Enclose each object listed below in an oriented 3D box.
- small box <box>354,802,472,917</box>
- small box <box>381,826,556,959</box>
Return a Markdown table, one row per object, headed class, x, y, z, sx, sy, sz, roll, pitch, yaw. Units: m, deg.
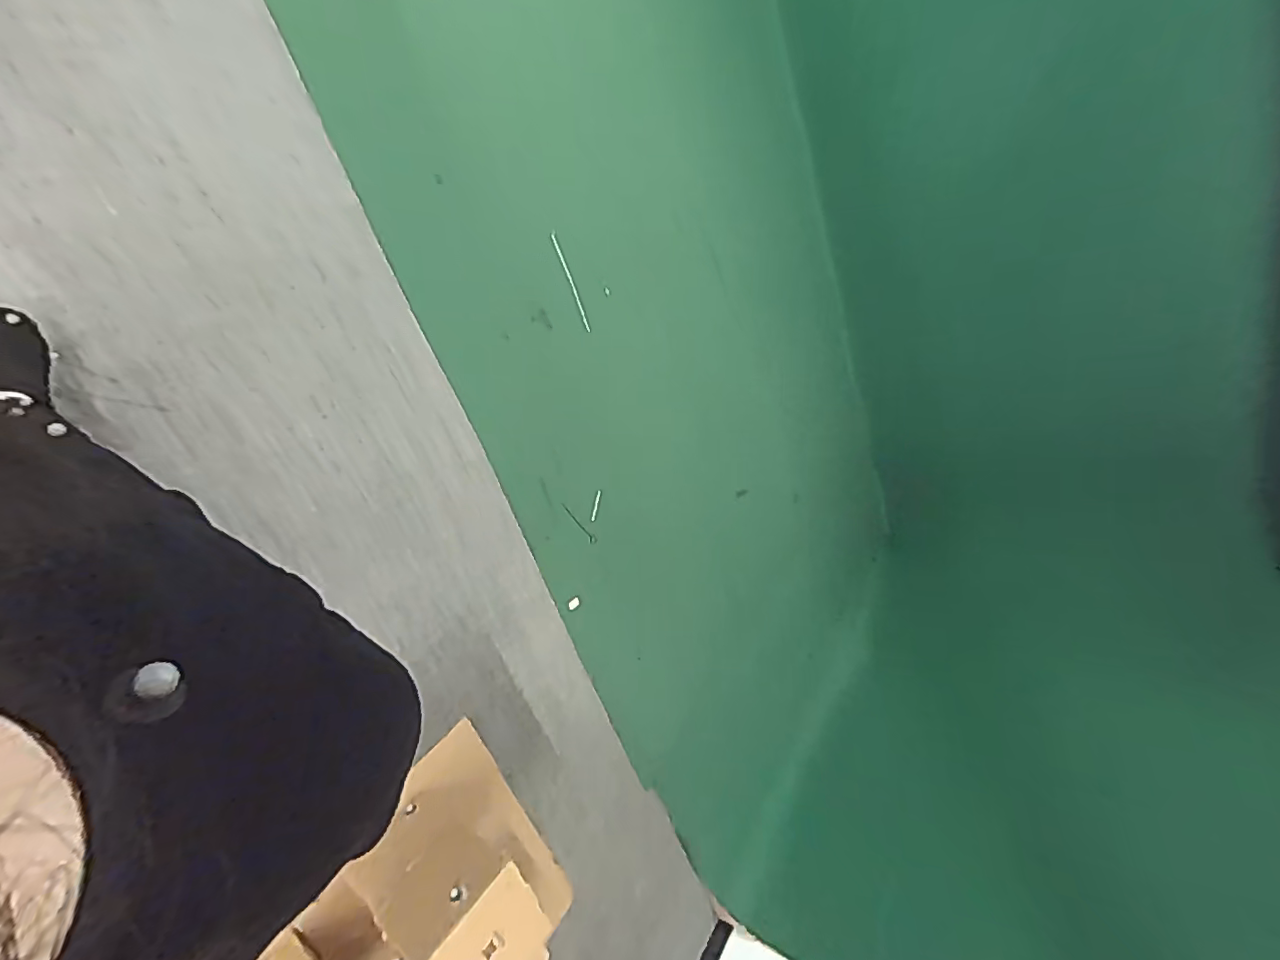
| class | x | y | z | sx | sy | sz | roll | pitch | yaw |
| --- | --- | --- | --- | --- | --- | --- | --- | --- | --- |
| small box | -0.382 | 0.725 | 0.984 | 0.168 | 0.176 | 0.179 | -37 | 115 | -42 |
| small box | -0.272 | 0.705 | 0.864 | 0.179 | 0.176 | 0.168 | -36 | 112 | -41 |
